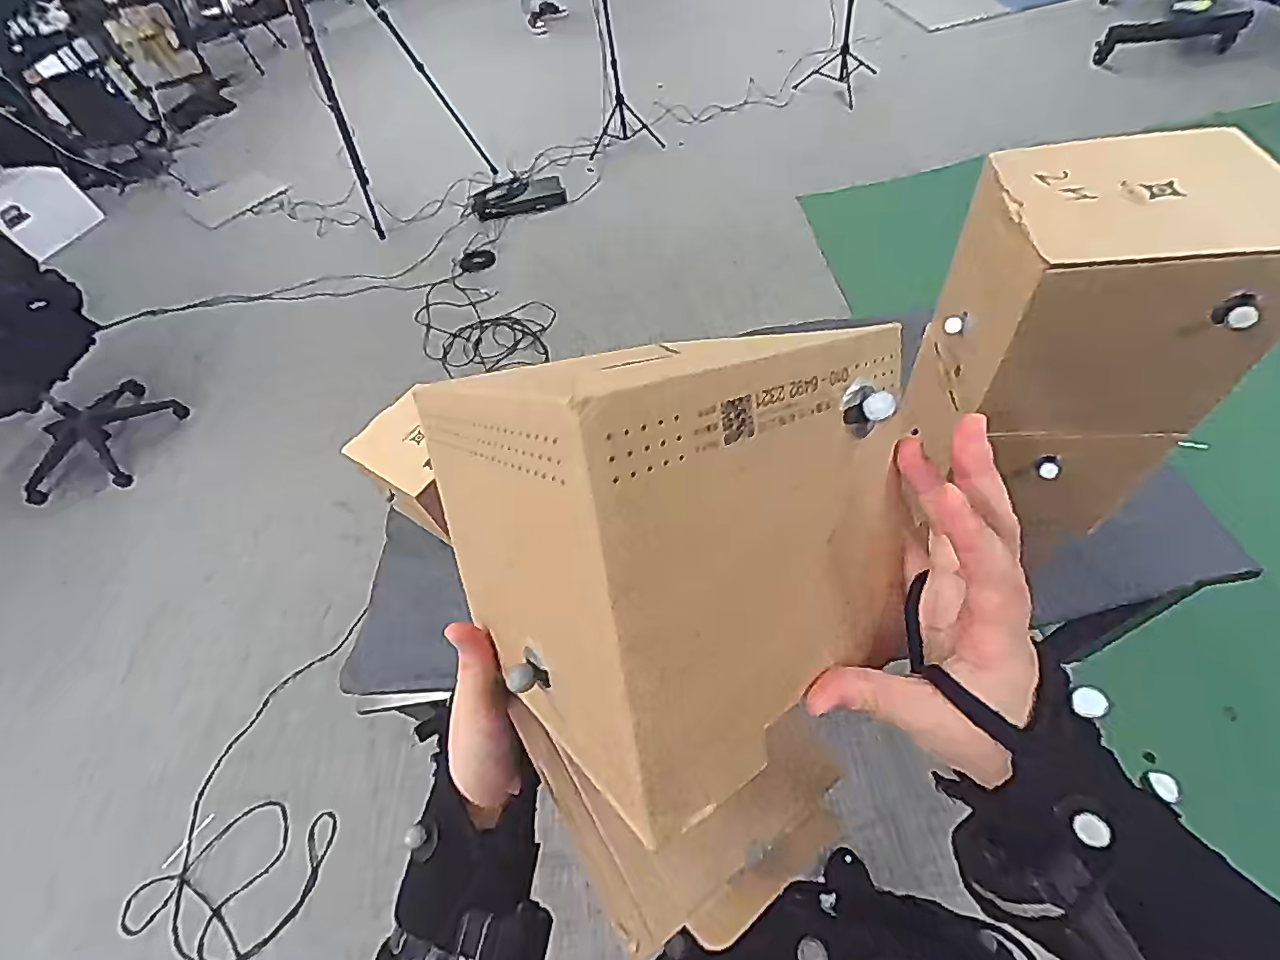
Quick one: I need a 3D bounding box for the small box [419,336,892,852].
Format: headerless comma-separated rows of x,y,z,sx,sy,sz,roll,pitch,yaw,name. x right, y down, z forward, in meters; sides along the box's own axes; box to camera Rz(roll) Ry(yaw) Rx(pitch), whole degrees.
0.004,0.022,0.279,0.168,0.176,0.179,-19,20,-32,small box

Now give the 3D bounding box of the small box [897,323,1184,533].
0.395,-0.054,0.577,0.179,0.176,0.168,-1,54,12,small box

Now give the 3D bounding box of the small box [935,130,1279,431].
0.371,-0.153,0.447,0.179,0.176,0.168,0,54,13,small box

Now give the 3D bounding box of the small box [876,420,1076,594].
0.419,0.029,0.715,0.168,0.176,0.179,-9,53,5,small box

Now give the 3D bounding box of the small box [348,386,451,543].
-0.325,-0.020,0.890,0.179,0.176,0.168,26,63,25,small box
